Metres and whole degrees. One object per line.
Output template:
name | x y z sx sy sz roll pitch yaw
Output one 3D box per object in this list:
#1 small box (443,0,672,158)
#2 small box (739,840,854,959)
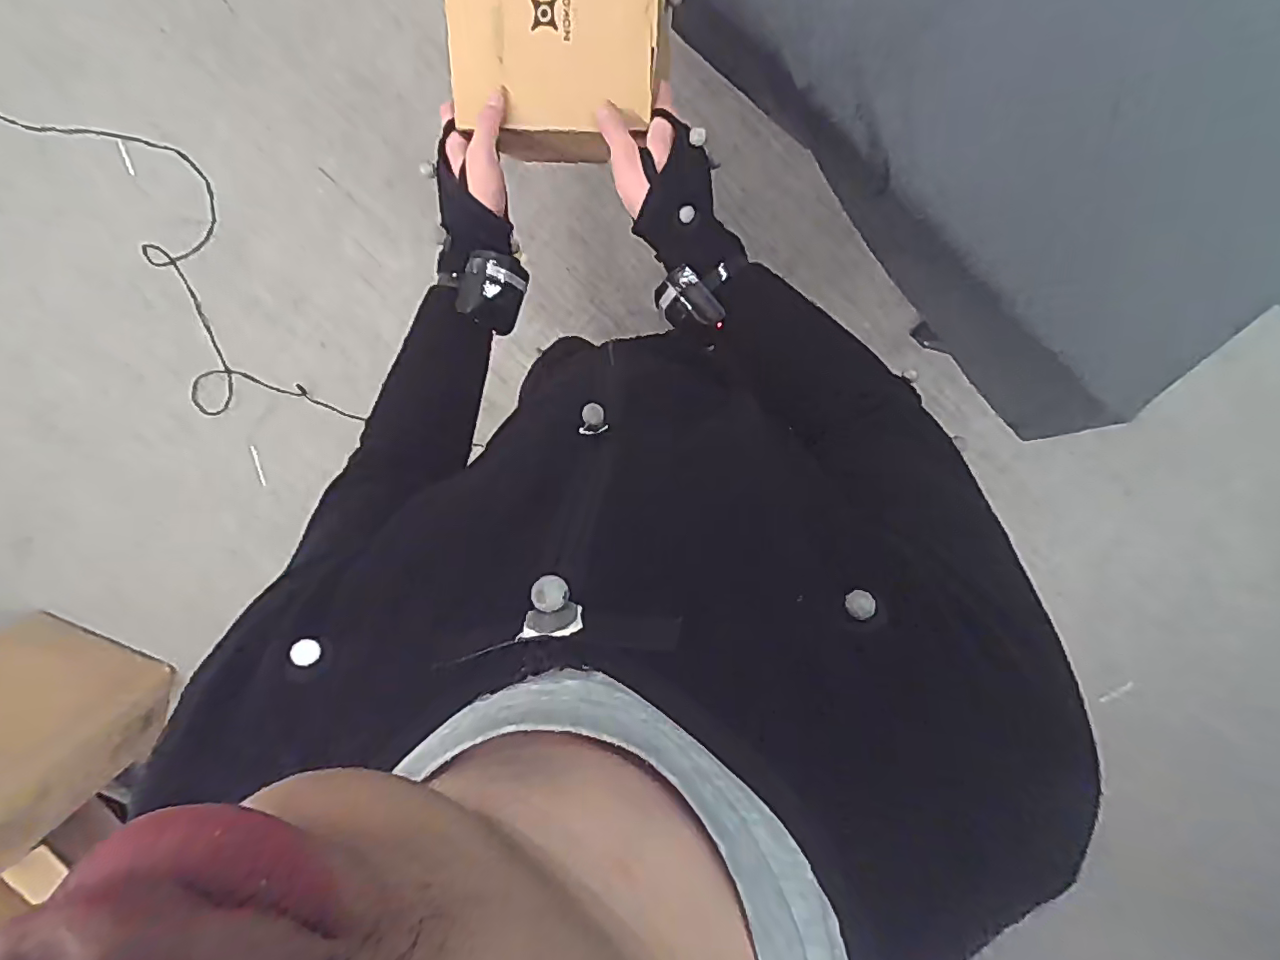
small box | -0.063 -0.406 0.493 0.179 0.176 0.168 4 110 5
small box | 0.333 0.950 1.195 0.168 0.176 0.179 43 107 -11
